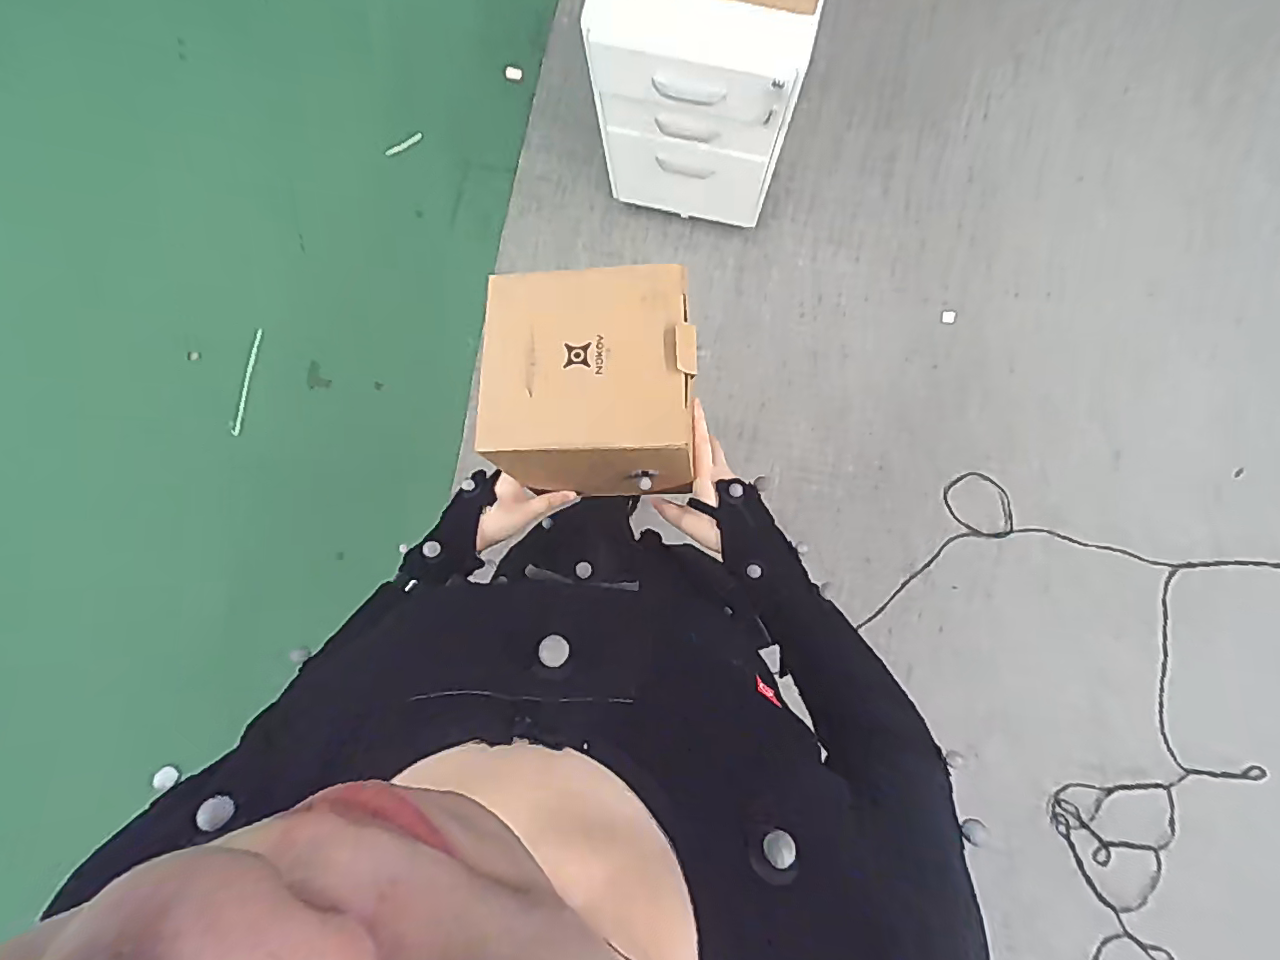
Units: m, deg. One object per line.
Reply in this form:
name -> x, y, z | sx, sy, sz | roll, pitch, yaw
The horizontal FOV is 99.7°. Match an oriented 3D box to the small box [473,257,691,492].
small box -> -0.039, -0.088, 0.524 | 0.179, 0.176, 0.168 | -2, 74, 8
